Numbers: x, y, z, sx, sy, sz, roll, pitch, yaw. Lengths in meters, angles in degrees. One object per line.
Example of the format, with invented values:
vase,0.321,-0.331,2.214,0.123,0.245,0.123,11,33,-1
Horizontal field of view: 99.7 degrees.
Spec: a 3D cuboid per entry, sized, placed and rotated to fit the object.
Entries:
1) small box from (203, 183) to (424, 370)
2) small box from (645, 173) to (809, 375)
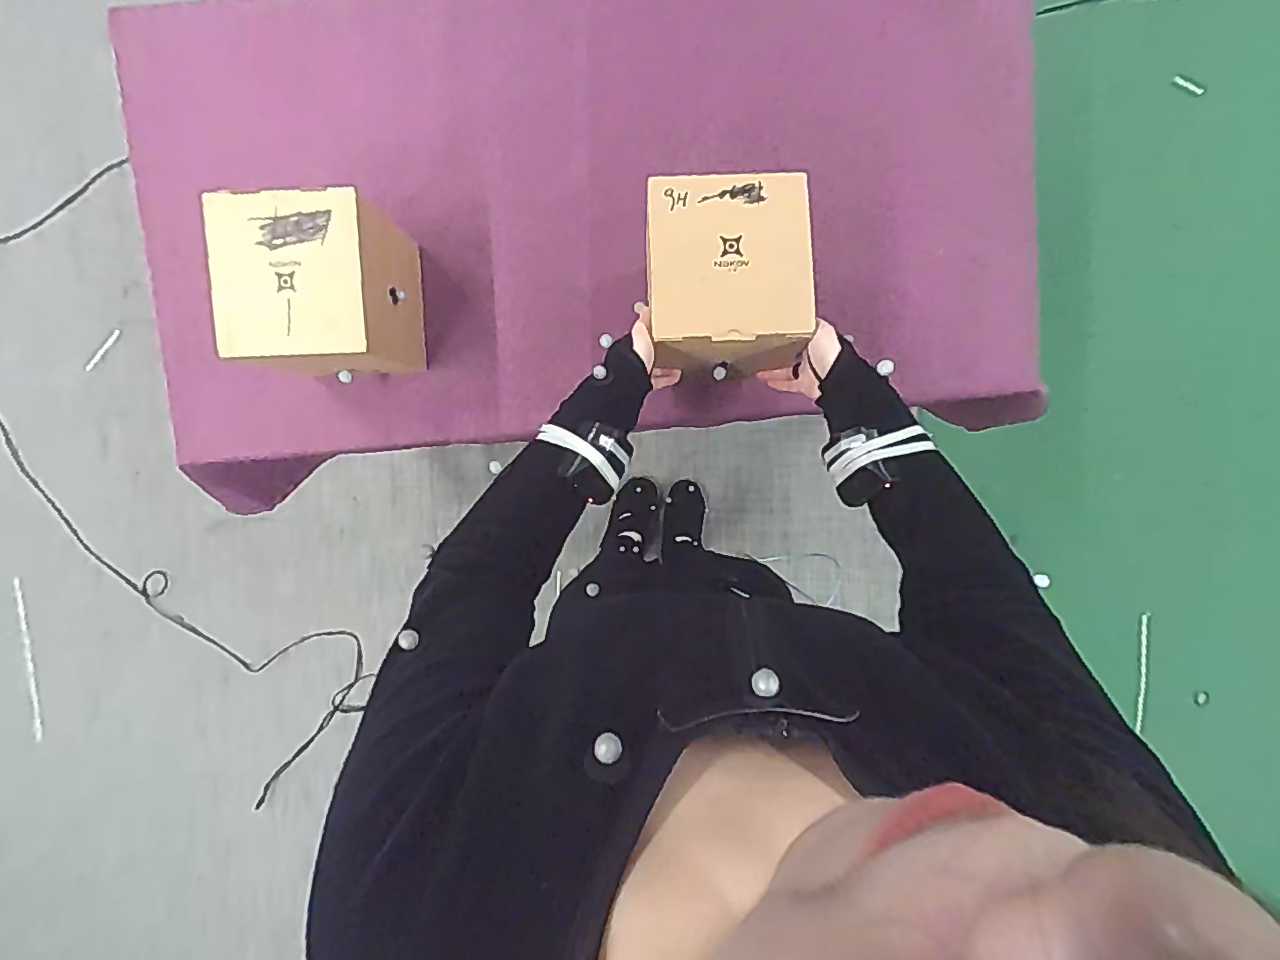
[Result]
small box,-0.378,-0.233,0.657,0.168,0.176,0.179,-2,96,0
small box,0.090,-0.223,0.630,0.168,0.176,0.179,-1,86,0
